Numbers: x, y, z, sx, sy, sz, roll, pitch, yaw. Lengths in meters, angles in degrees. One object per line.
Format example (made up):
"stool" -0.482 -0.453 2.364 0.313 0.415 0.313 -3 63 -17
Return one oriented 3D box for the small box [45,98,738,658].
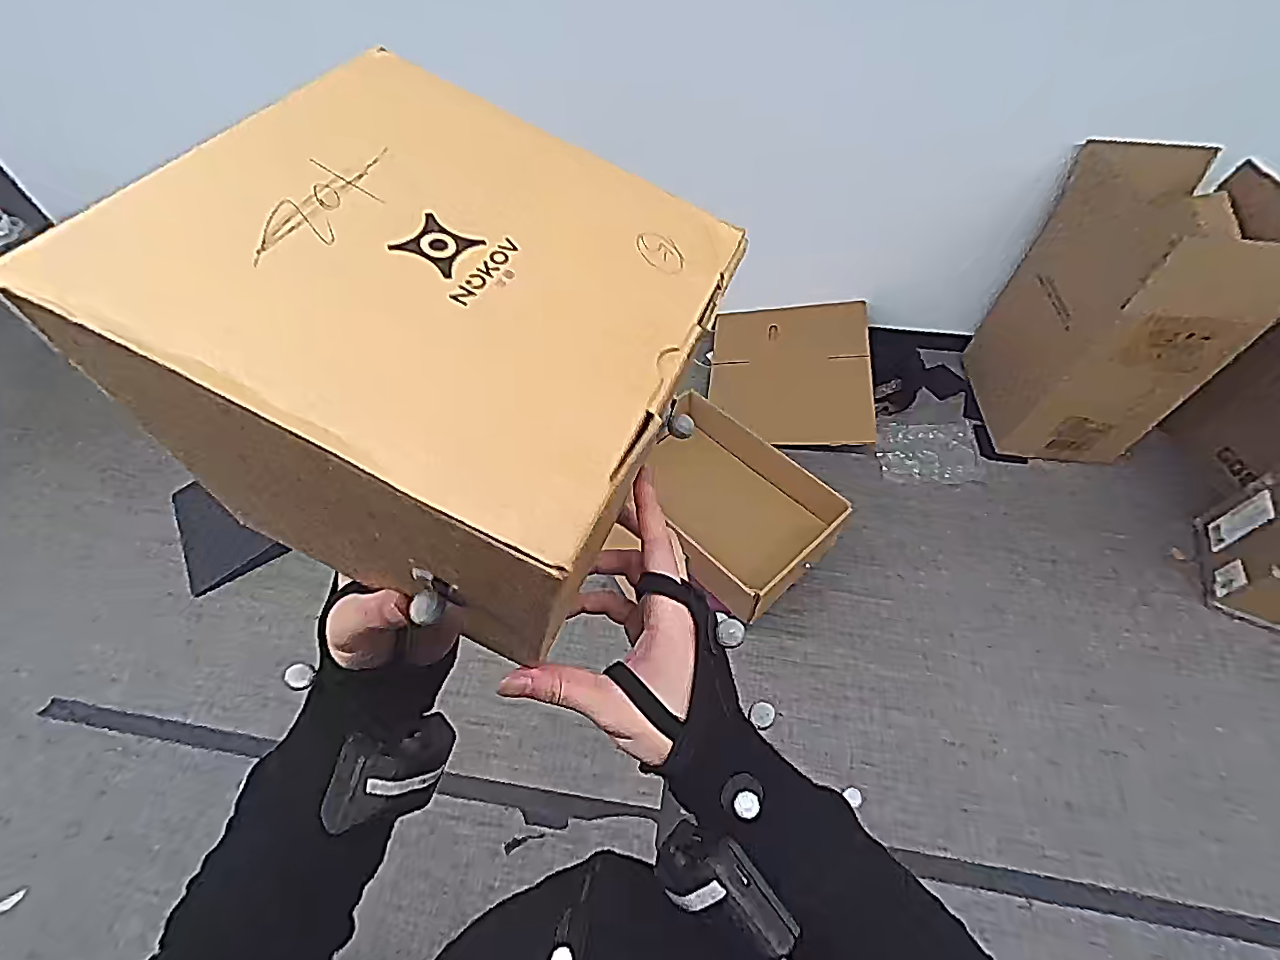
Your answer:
"small box" -0.082 -0.030 0.264 0.179 0.176 0.168 26 59 1
